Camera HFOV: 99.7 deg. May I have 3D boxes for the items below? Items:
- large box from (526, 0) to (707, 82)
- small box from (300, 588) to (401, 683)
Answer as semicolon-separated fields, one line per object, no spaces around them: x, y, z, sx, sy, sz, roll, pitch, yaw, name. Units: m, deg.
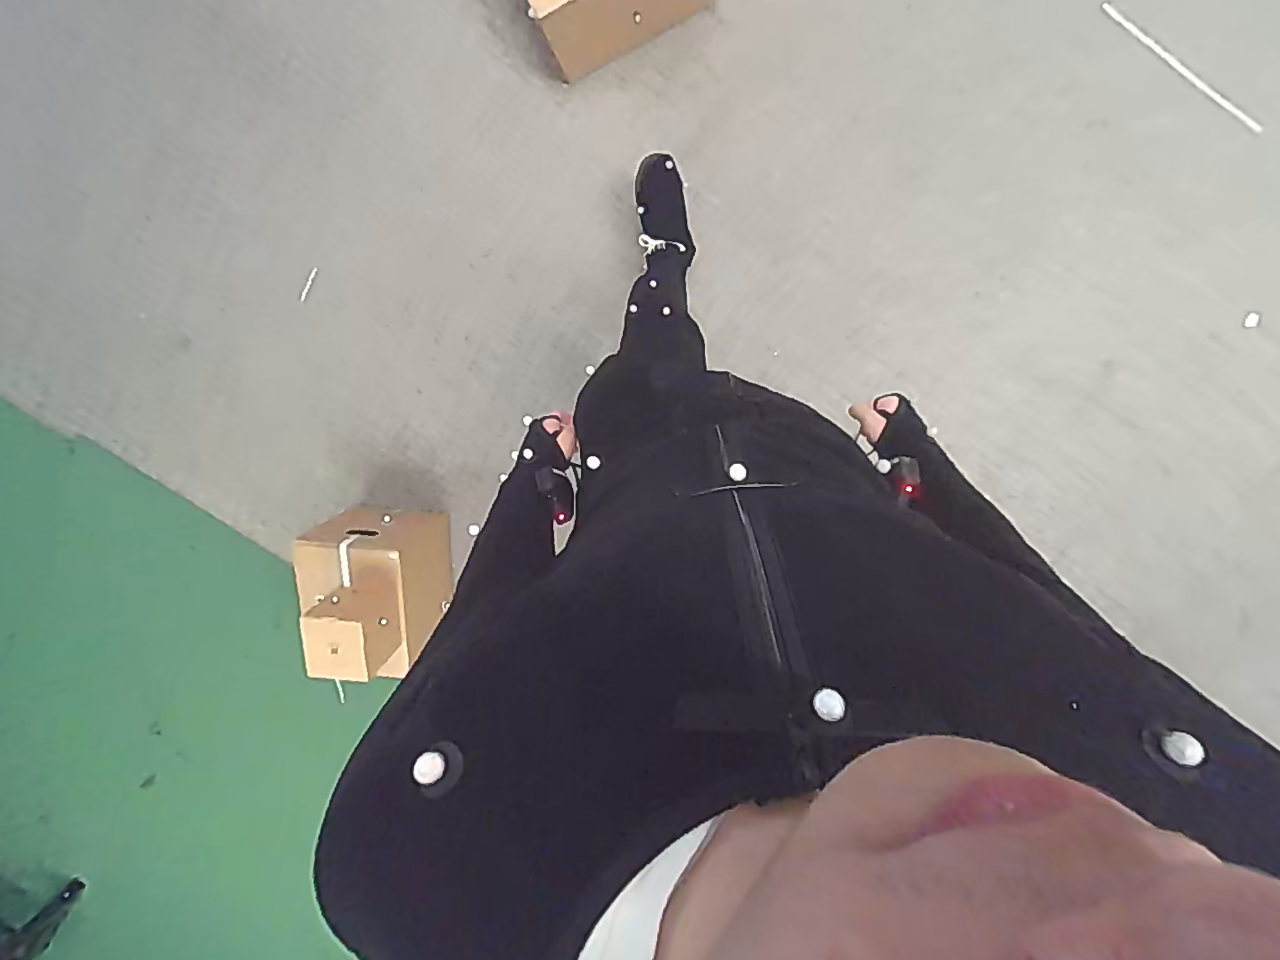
-0.074;-1.170;1.157;0.408;0.320;0.320;-22;102;12;large box
-0.751;0.401;1.418;0.168;0.176;0.179;4;107;4;small box
